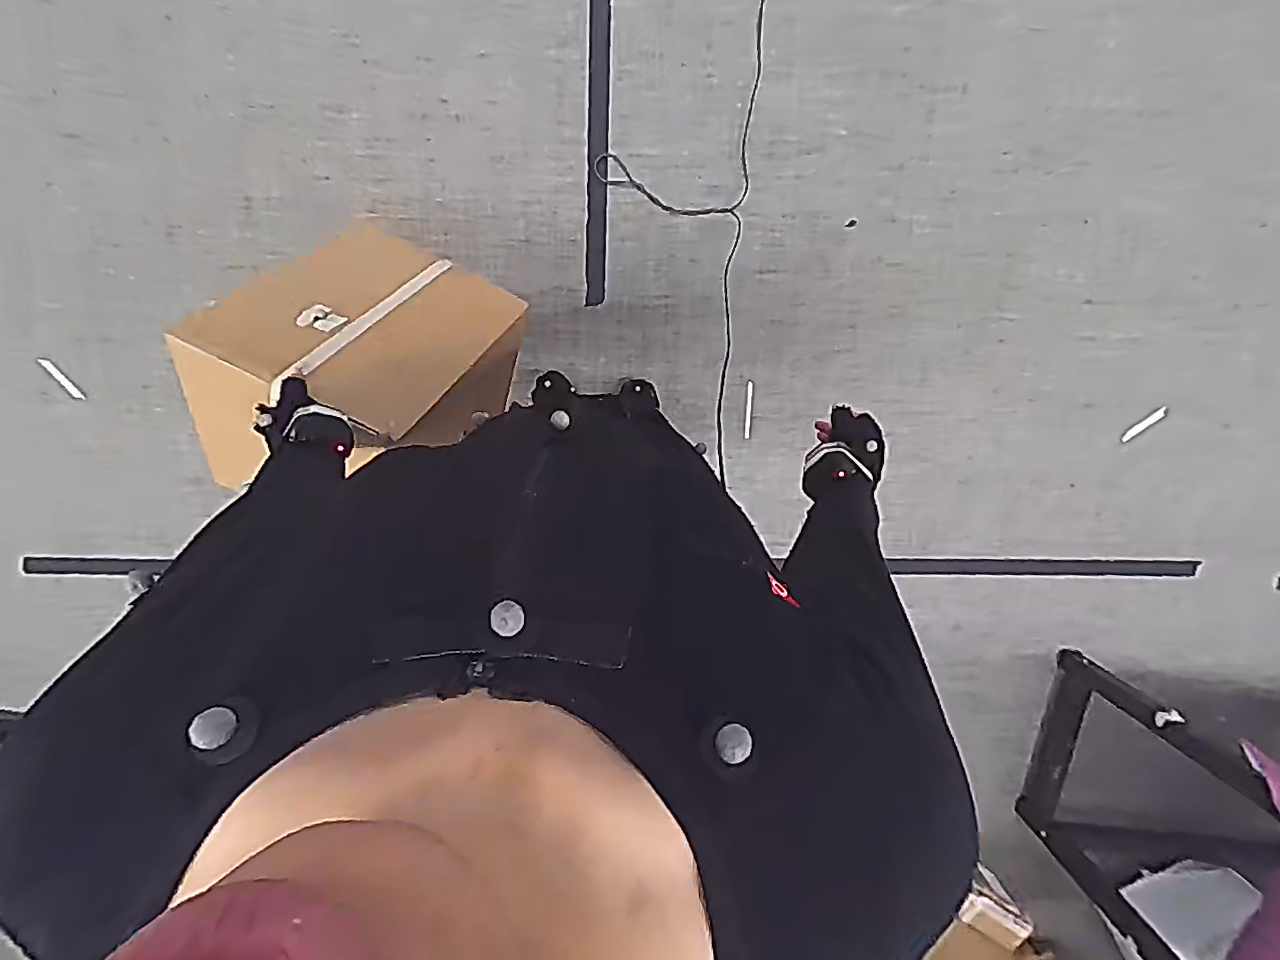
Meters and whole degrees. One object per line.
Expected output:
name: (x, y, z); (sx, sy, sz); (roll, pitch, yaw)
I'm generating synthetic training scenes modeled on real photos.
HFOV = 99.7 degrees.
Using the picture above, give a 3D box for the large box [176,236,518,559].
large box: (-0.456, -0.147, 0.940); (0.320, 0.408, 0.320); (25, 136, -3)
